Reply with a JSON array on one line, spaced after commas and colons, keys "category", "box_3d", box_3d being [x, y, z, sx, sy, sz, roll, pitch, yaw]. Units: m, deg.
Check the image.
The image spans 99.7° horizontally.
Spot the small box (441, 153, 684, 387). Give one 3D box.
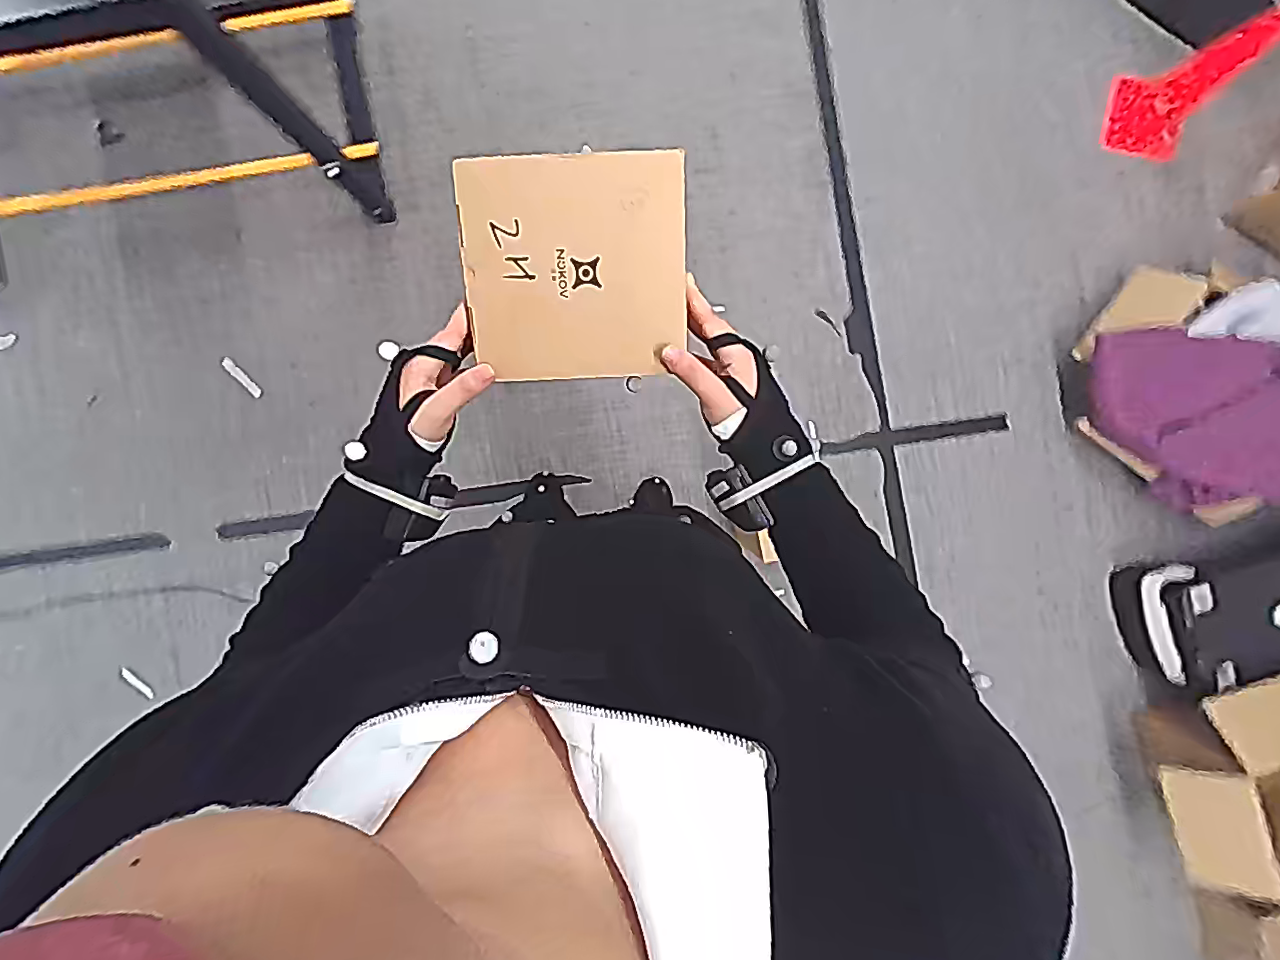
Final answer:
[{"category": "small box", "box_3d": [-0.057, -0.180, 0.491, 0.179, 0.176, 0.168, -3, 106, 0]}]

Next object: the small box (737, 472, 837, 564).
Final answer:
[{"category": "small box", "box_3d": [0.329, 0.082, 1.243, 0.168, 0.176, 0.179, -11, 92, 0]}]

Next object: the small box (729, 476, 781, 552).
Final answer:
[{"category": "small box", "box_3d": [0.334, 0.084, 1.410, 0.179, 0.176, 0.168, -11, 91, 1]}]
